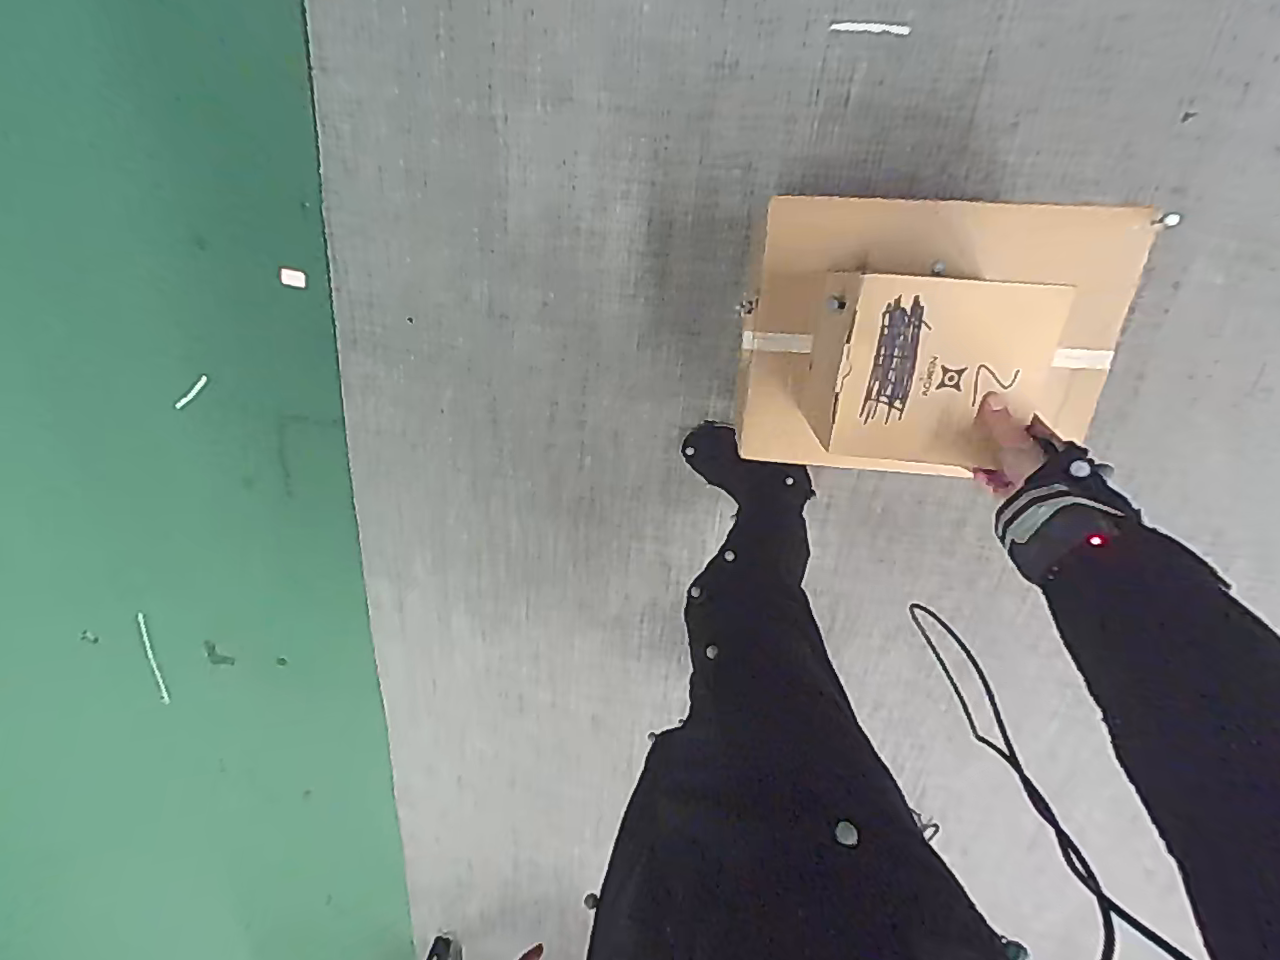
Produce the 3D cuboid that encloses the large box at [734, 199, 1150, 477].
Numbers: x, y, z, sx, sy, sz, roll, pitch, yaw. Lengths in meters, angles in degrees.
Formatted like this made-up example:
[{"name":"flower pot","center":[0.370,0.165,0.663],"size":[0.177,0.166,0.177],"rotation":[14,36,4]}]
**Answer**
[{"name":"large box","center":[0.352,-0.210,0.778],"size":[0.408,0.320,0.320],"rotation":[4,113,6]}]
